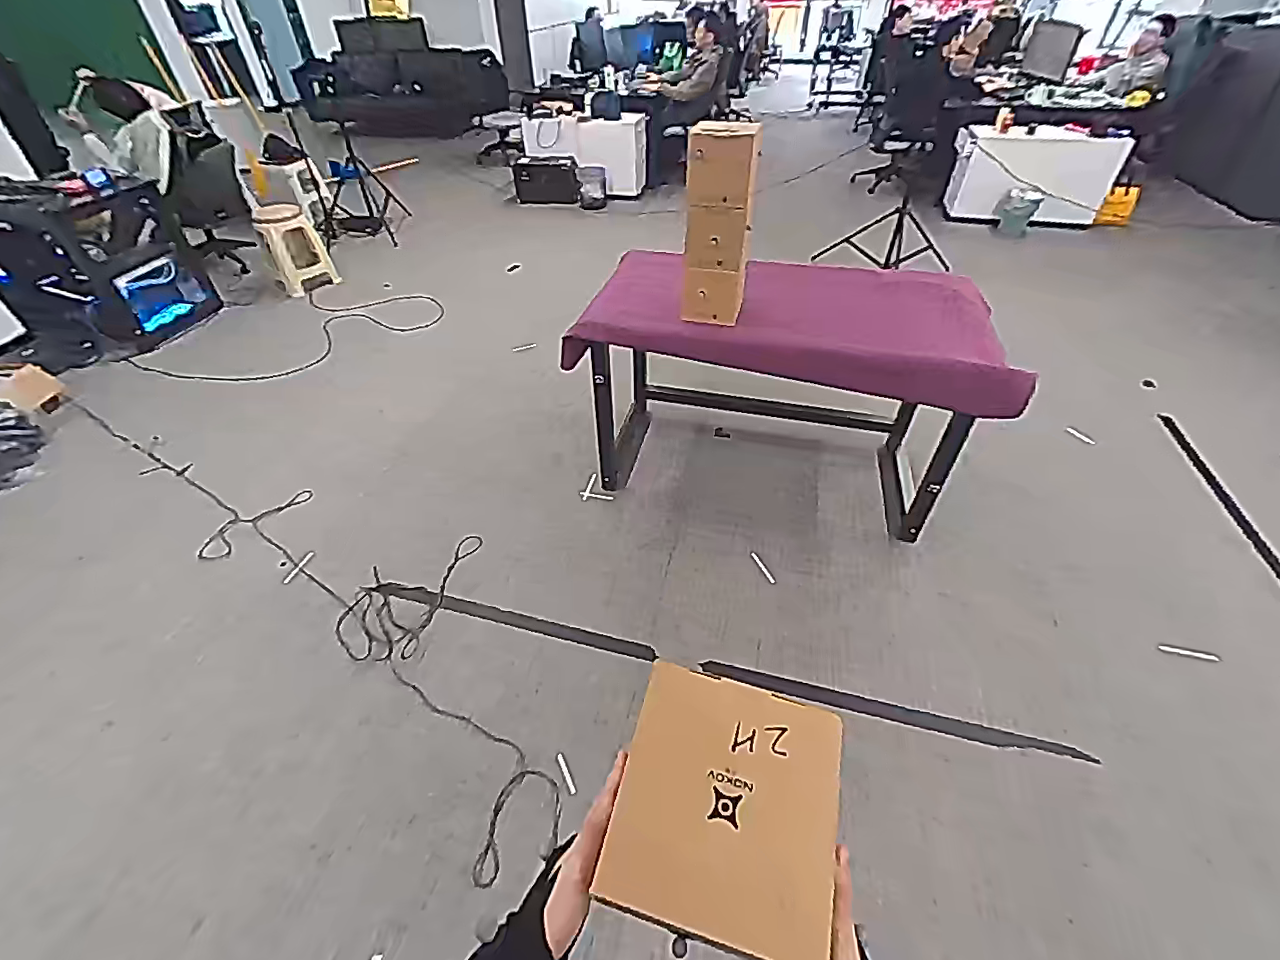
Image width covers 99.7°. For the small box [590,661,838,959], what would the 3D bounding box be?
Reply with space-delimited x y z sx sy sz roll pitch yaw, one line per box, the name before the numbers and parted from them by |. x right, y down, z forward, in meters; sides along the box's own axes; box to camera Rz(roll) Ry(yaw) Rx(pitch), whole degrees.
small box | 0.063 0.296 0.481 0.168 0.176 0.179 15 51 8

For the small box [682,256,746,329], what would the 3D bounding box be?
small box | 0.225 -0.580 1.660 0.168 0.176 0.179 10 43 12

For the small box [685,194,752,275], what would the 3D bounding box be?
small box | 0.223 -0.705 1.554 0.168 0.176 0.179 9 44 10
